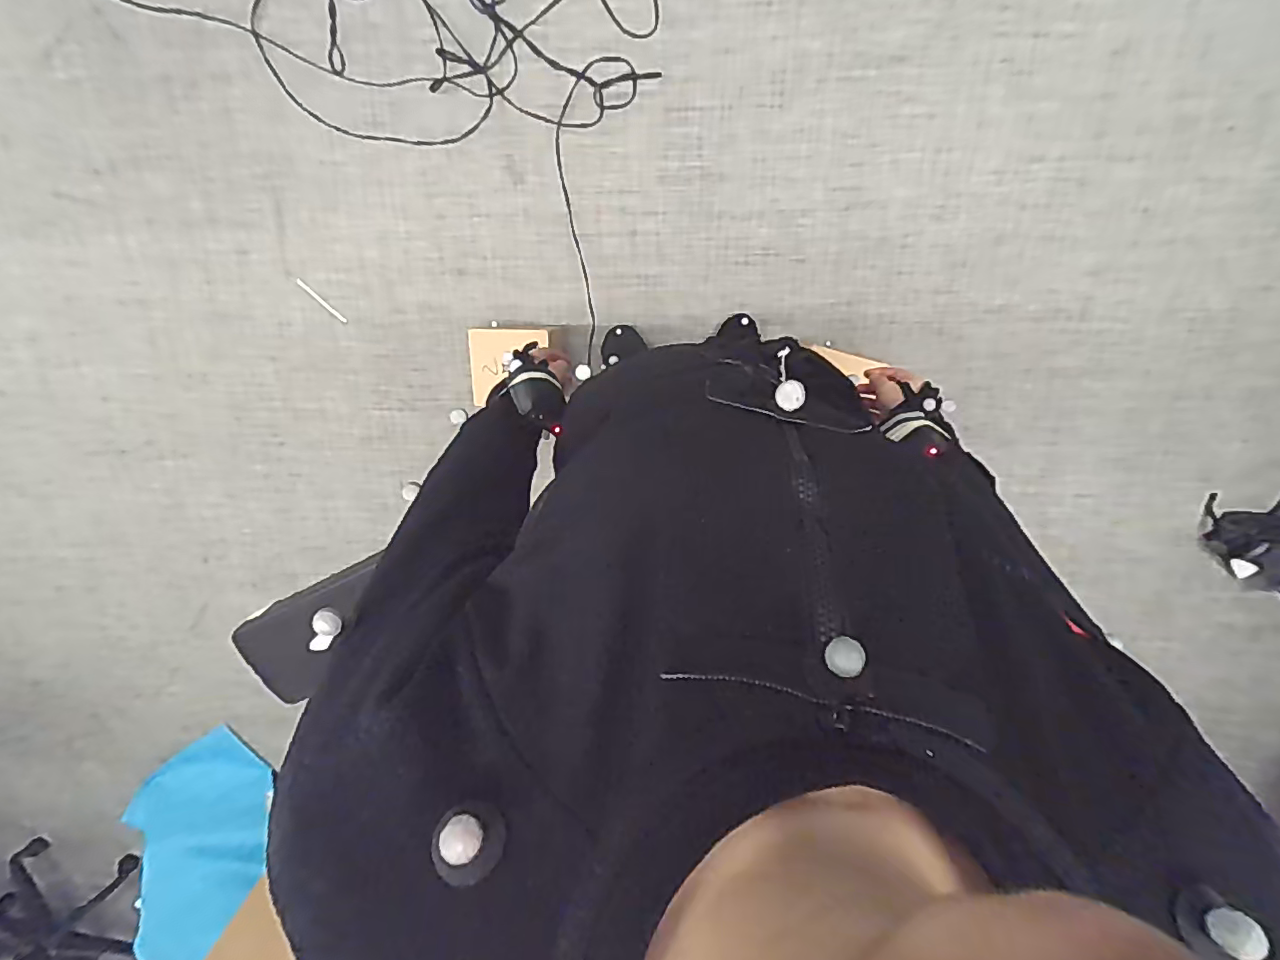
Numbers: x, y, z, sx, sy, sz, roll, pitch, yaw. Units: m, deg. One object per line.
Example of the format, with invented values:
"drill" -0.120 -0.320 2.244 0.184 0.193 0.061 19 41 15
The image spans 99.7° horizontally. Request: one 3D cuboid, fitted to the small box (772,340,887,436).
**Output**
"small box" 0.419 -0.214 1.225 0.179 0.176 0.168 14 109 -2
